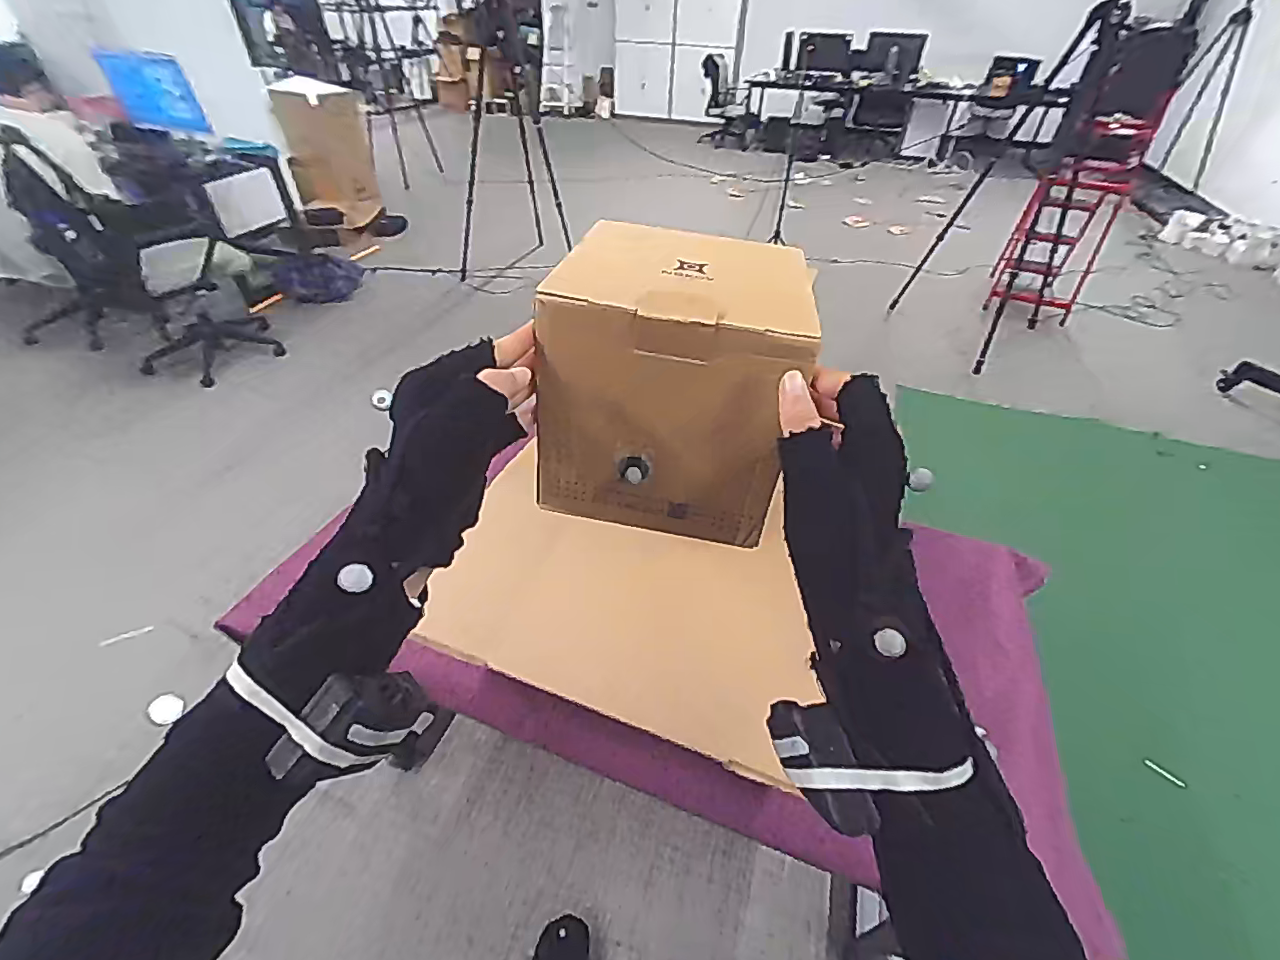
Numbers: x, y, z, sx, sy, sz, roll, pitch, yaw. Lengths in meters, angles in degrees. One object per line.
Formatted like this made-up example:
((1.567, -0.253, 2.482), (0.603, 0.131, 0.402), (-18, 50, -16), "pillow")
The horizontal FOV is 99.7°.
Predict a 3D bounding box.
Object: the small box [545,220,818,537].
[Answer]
((0.027, -0.084, 0.426), (0.168, 0.176, 0.179), (10, 39, 4), "small box")
